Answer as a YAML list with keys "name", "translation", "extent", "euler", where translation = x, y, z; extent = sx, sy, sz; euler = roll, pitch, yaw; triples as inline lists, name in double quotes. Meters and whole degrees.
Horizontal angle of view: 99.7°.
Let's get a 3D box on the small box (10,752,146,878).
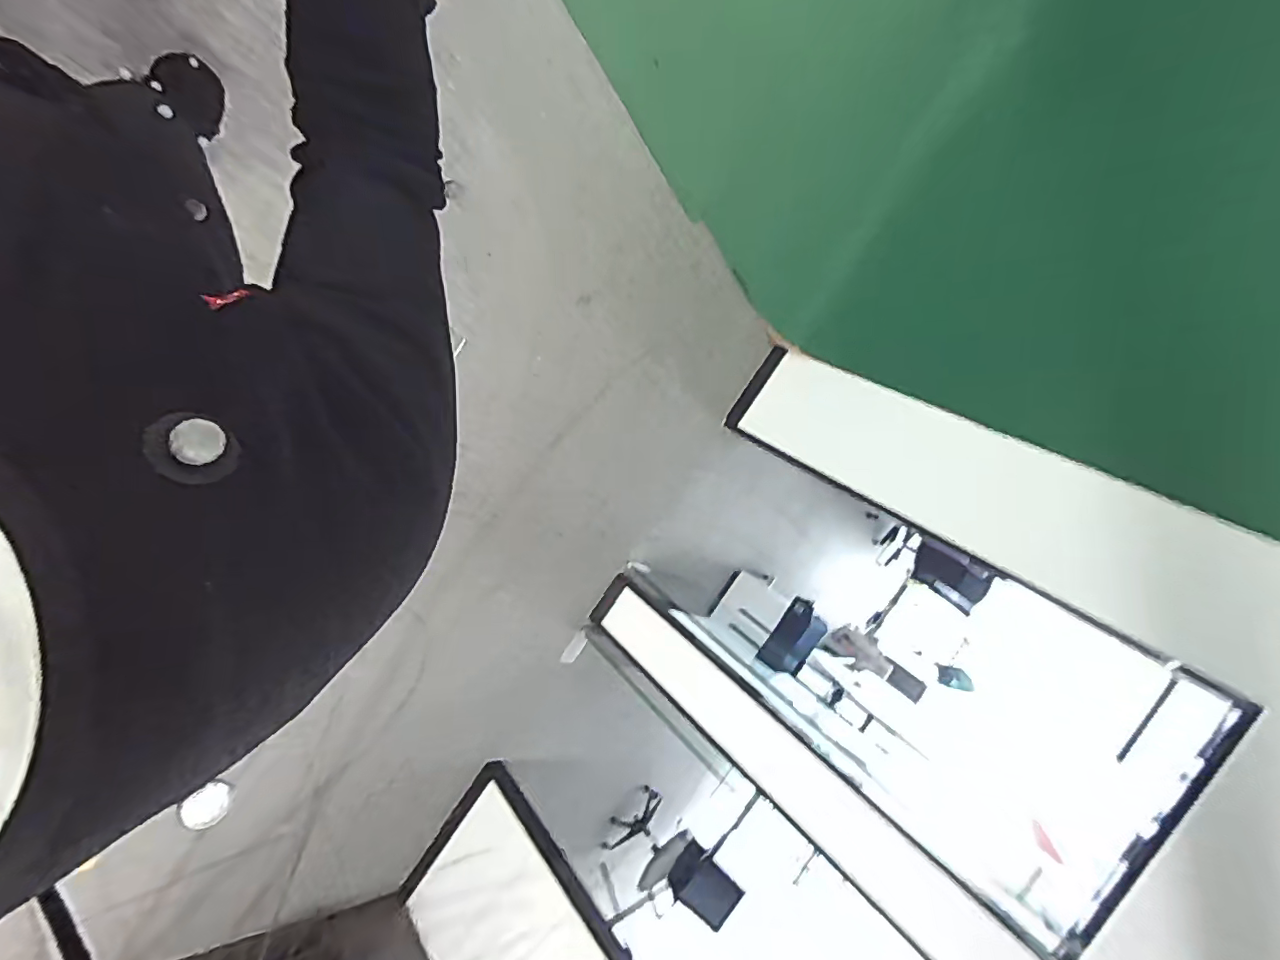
- name: "small box"
  translation: [-1.293, 0.752, 1.243]
  extent: [0.179, 0.176, 0.168]
  euler: [-55, 144, 2]
